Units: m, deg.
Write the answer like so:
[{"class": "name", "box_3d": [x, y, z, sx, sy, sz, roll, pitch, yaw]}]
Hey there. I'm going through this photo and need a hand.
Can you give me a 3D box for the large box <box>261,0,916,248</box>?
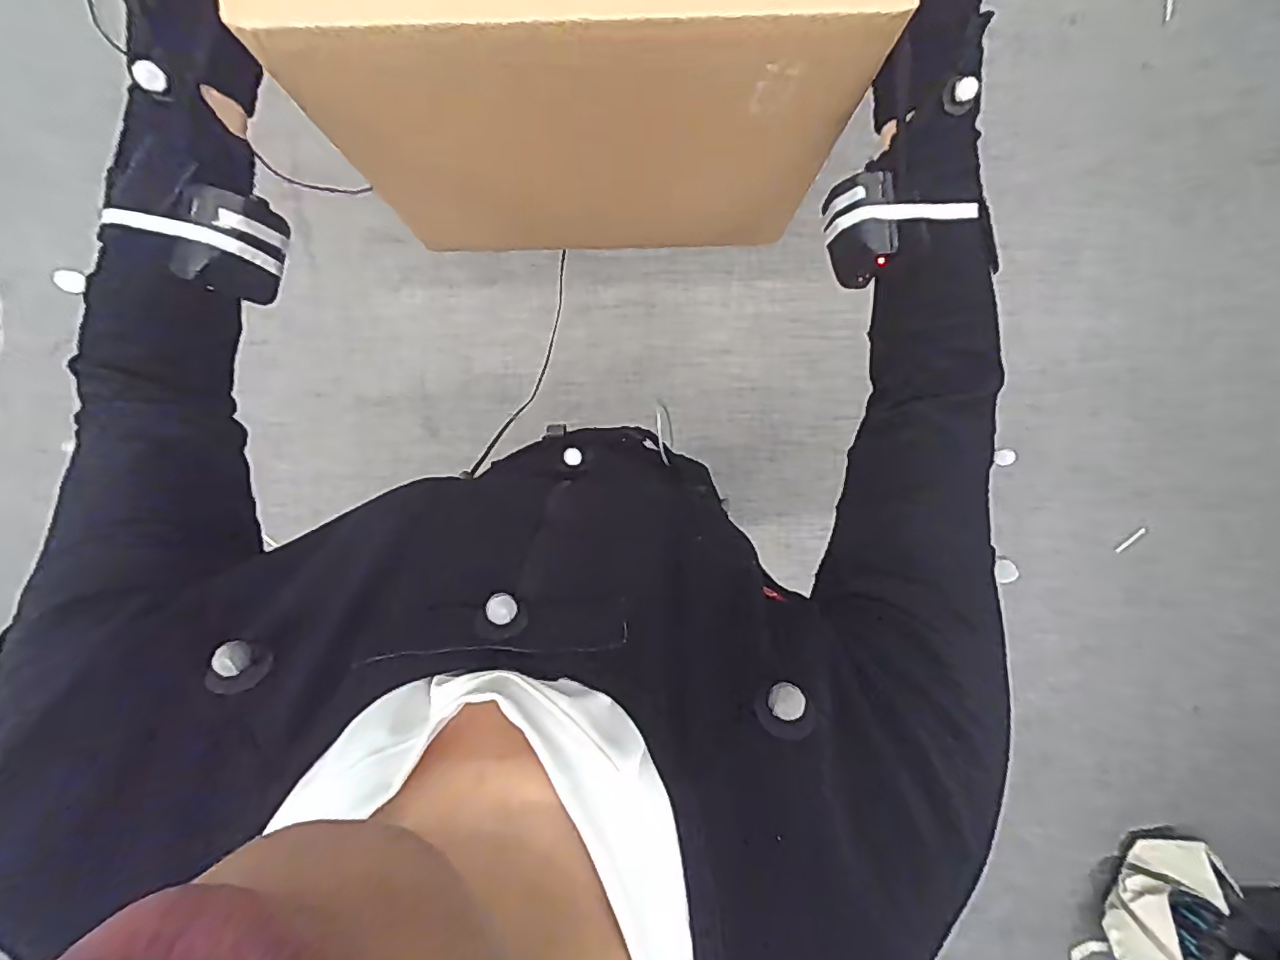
[{"class": "large box", "box_3d": [-0.040, -0.425, 0.475, 0.408, 0.320, 0.320, -2, 90, -2]}]
